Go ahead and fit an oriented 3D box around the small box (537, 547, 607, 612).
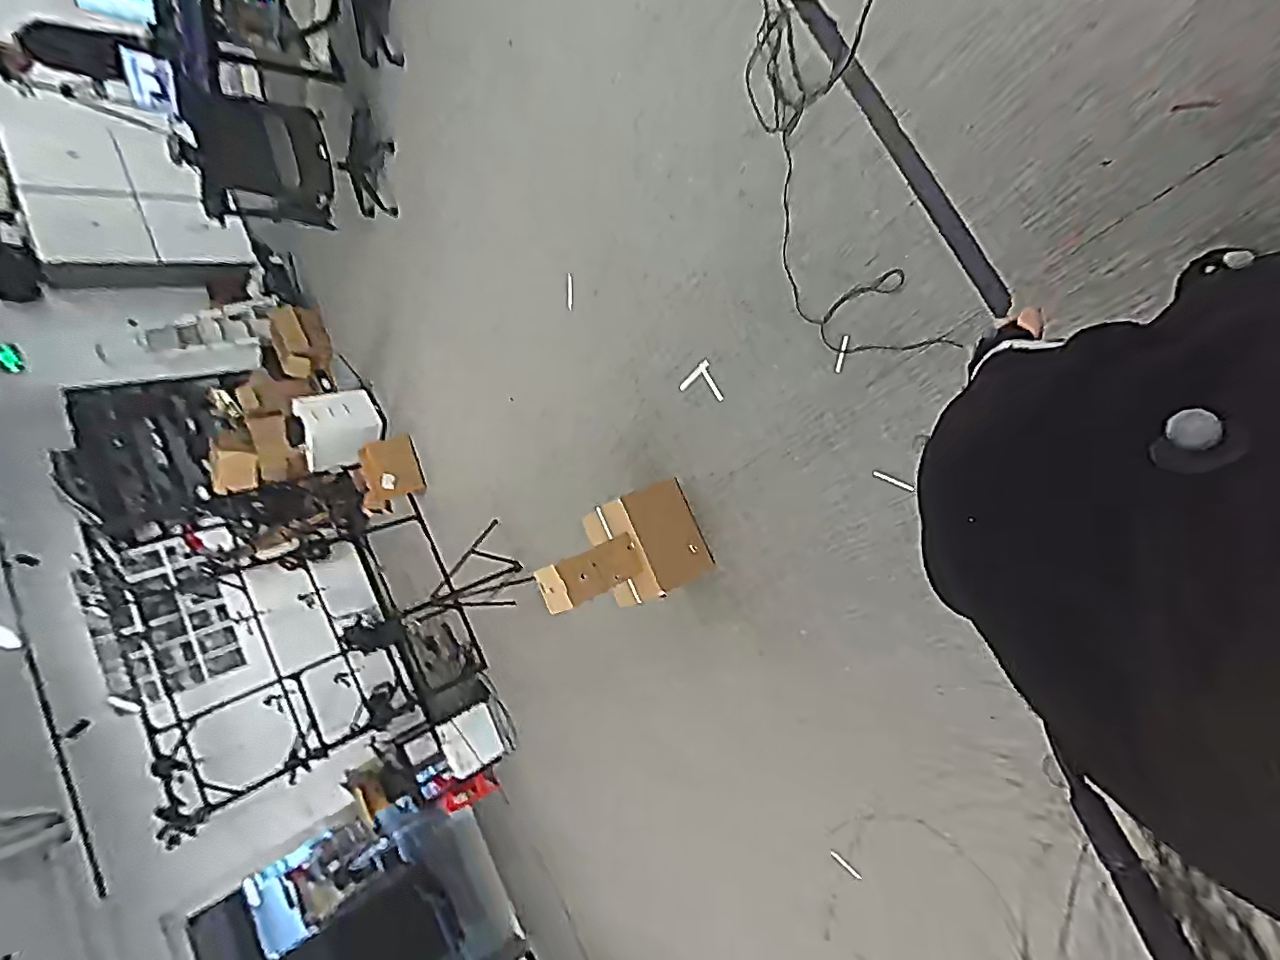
[{"bbox_3d":[-0.238,0.357,1.949,0.179,0.176,0.168,-30,82,49],"label":"small box"}]
